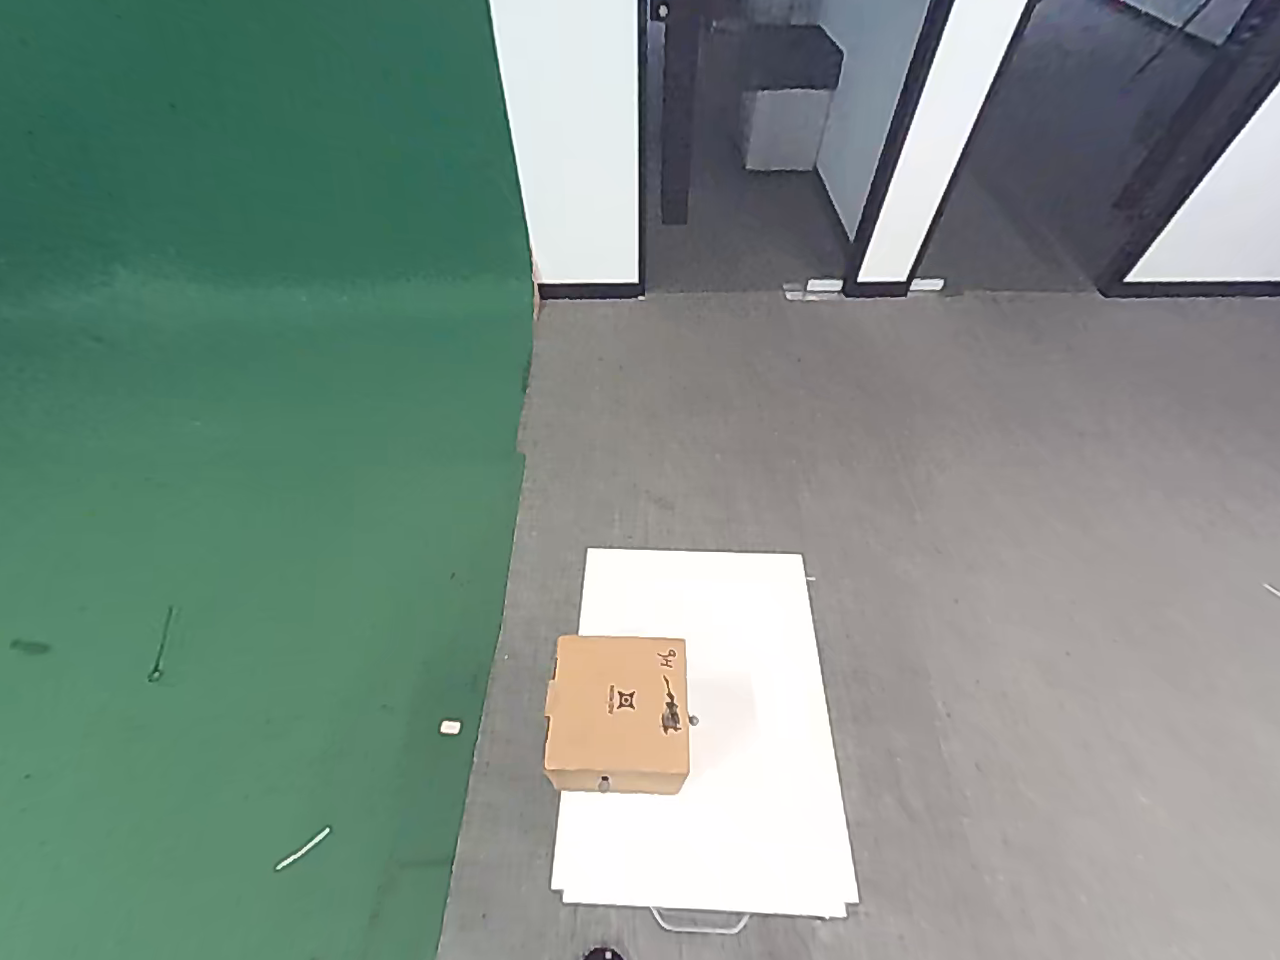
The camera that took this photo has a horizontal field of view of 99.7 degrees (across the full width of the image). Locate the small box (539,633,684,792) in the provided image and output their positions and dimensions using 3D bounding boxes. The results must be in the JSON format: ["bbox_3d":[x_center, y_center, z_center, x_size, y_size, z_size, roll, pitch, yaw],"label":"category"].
[{"bbox_3d":[-0.032,0.325,0.748,0.179,0.176,0.168,2,52,0],"label":"small box"}]
